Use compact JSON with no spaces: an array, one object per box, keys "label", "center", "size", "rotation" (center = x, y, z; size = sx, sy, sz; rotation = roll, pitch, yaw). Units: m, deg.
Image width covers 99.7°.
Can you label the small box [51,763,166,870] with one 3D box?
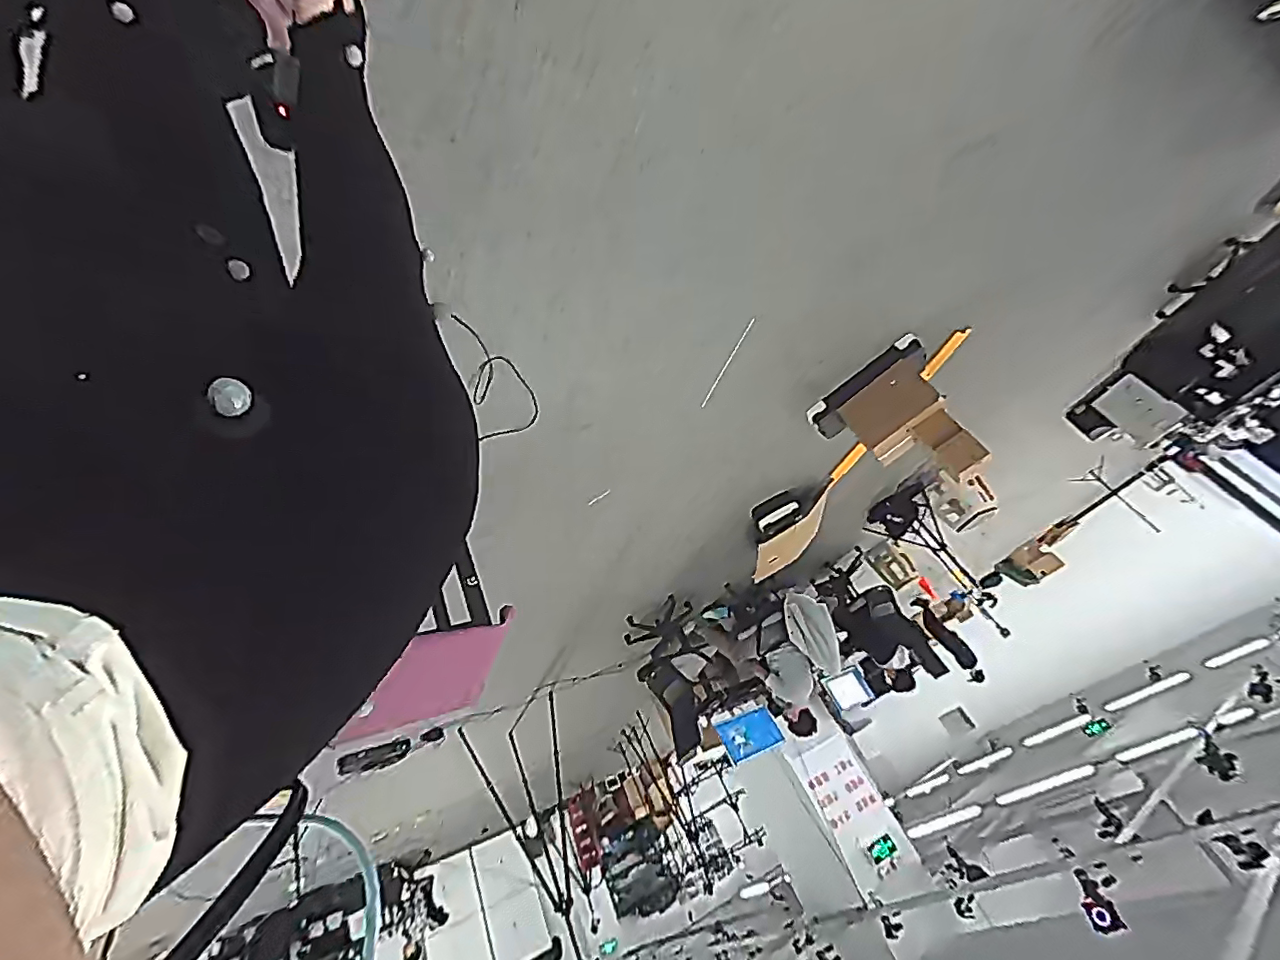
[{"label":"small box","center":[-1.386,0.881,1.424],"size":[0.179,0.176,0.168],"rotation":[-10,143,-30]}]

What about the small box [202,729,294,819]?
[{"label":"small box","center":[-1.138,0.849,1.571],"size":[0.168,0.176,0.179],"rotation":[-17,147,-18]}]
